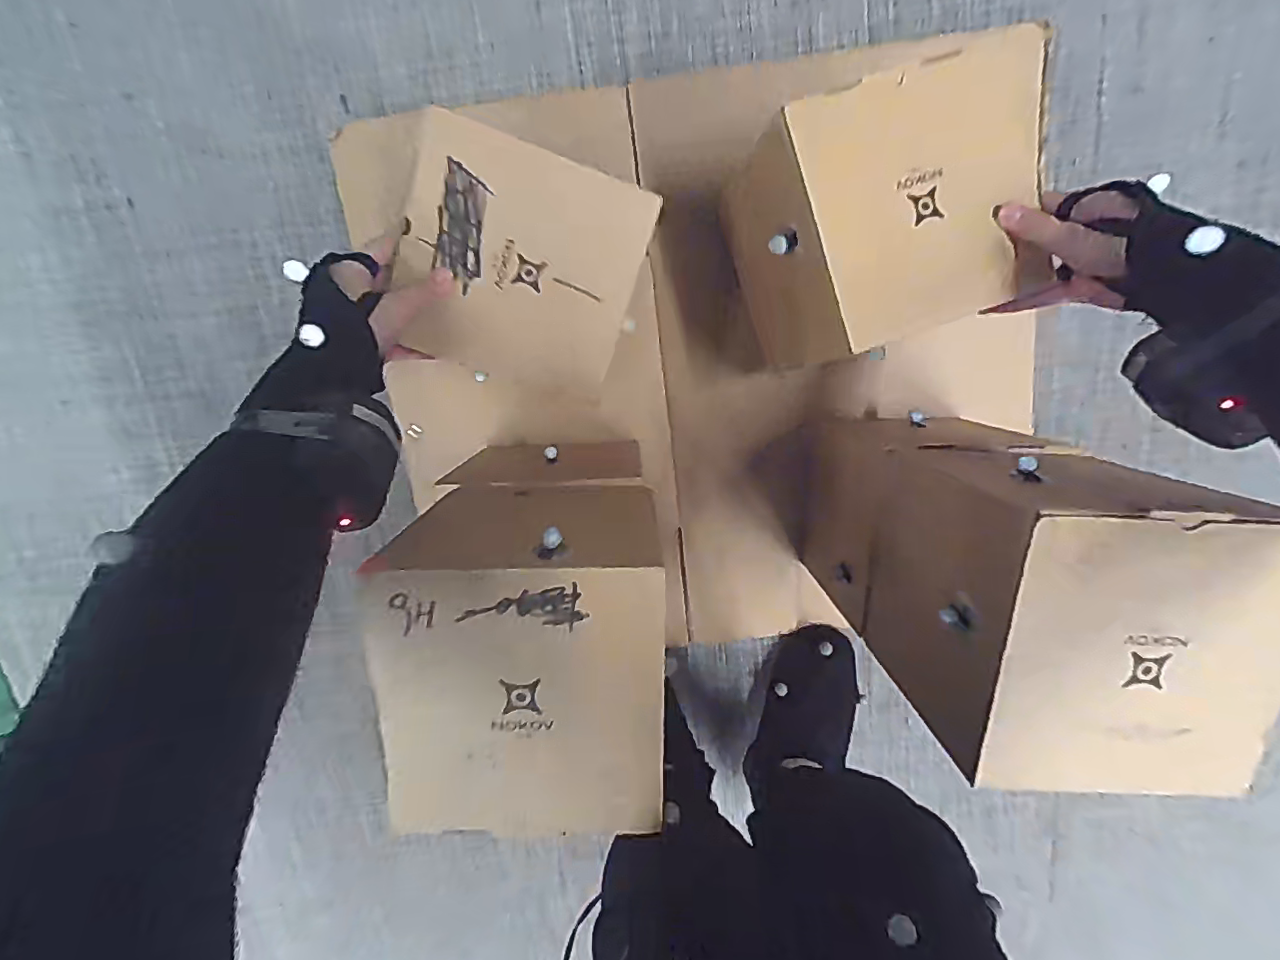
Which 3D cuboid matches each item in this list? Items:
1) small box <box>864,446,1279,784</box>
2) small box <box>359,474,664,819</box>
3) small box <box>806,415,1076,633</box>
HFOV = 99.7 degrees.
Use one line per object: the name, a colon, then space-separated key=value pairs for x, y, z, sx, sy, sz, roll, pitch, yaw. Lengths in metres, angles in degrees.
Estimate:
small box: x=0.278 y=0.076 z=0.380 sx=0.168 sy=0.176 sz=0.179 roll=3 pitch=105 yaw=-1
small box: x=-0.070 y=0.102 z=0.386 sx=0.168 sy=0.176 sz=0.179 roll=0 pitch=104 yaw=-1
small box: x=0.273 y=0.034 z=0.537 sx=0.168 sy=0.176 sz=0.179 roll=0 pitch=103 yaw=-1
